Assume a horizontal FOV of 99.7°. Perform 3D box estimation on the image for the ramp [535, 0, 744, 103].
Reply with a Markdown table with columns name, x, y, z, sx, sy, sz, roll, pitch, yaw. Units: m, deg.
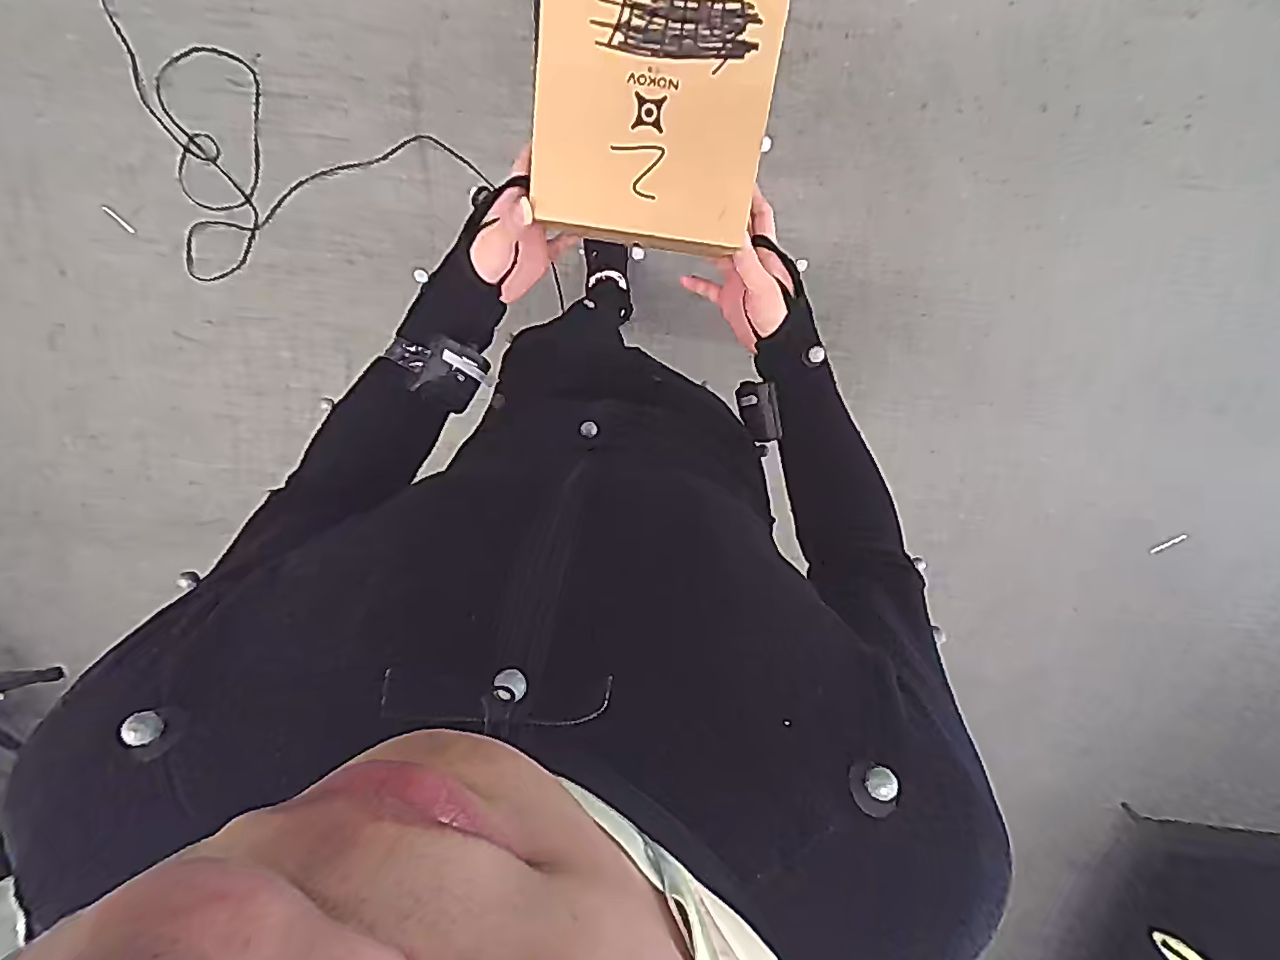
| name | x | y | z | sx | sy | sz | roll | pitch | yaw |
| --- | --- | --- | --- | --- | --- | --- | --- | --- | --- |
| ramp | 0.015 | -1.385 | 1.107 | 0.509 | 0.206 | 0.991 | 3 | 108 | 2 |
